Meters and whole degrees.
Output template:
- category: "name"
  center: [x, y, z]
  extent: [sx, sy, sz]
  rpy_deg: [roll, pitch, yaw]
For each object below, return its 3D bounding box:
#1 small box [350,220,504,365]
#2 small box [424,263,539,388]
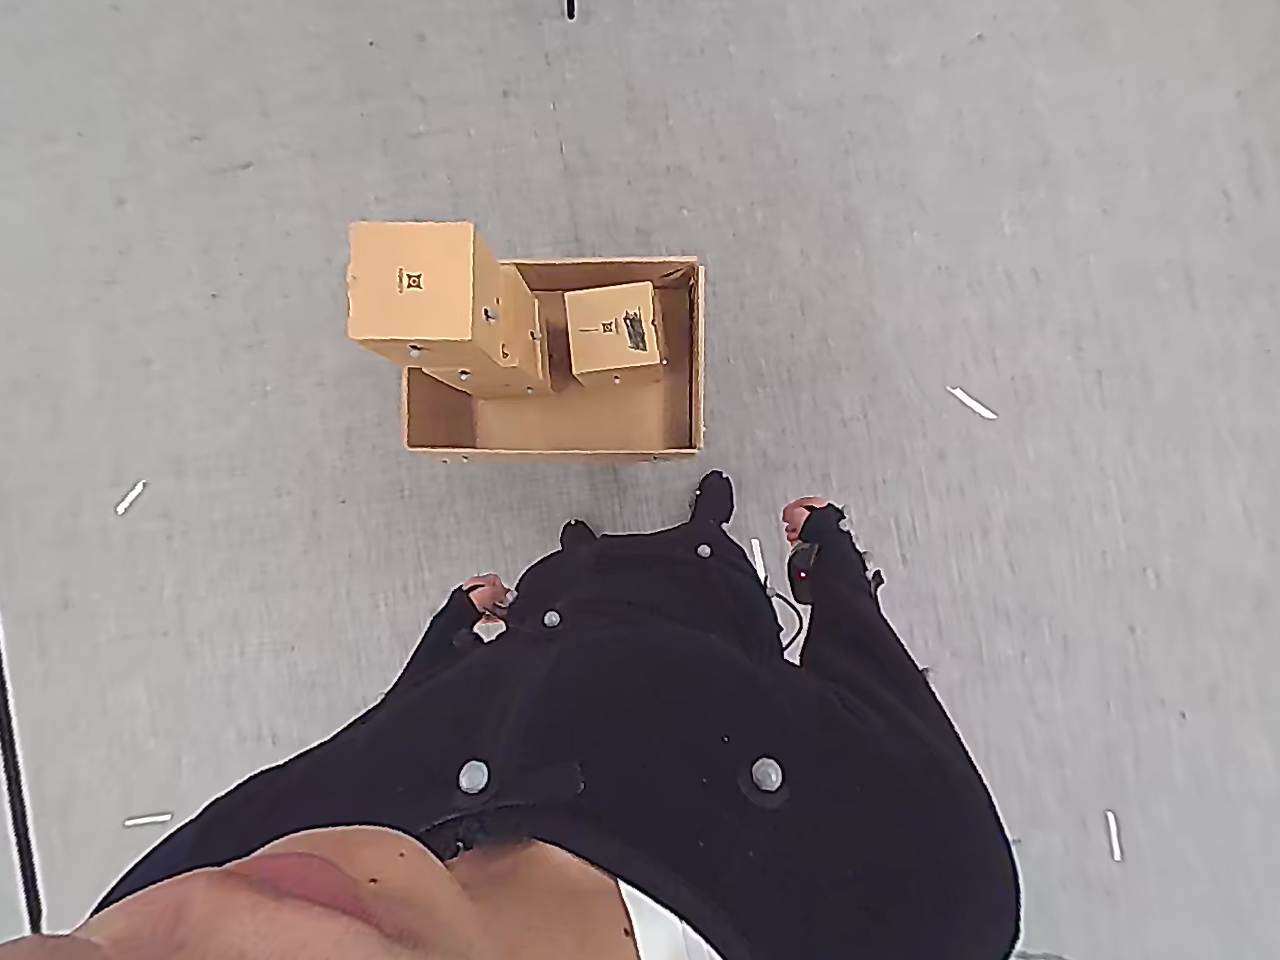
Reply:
- category: "small box"
  center: [-0.311, -0.275, 0.822]
  extent: [0.179, 0.176, 0.168]
  rpy_deg: [0, 89, 1]
- category: "small box"
  center: [-0.283, -0.273, 0.985]
  extent: [0.168, 0.176, 0.179]
  rpy_deg: [-3, 89, 1]
